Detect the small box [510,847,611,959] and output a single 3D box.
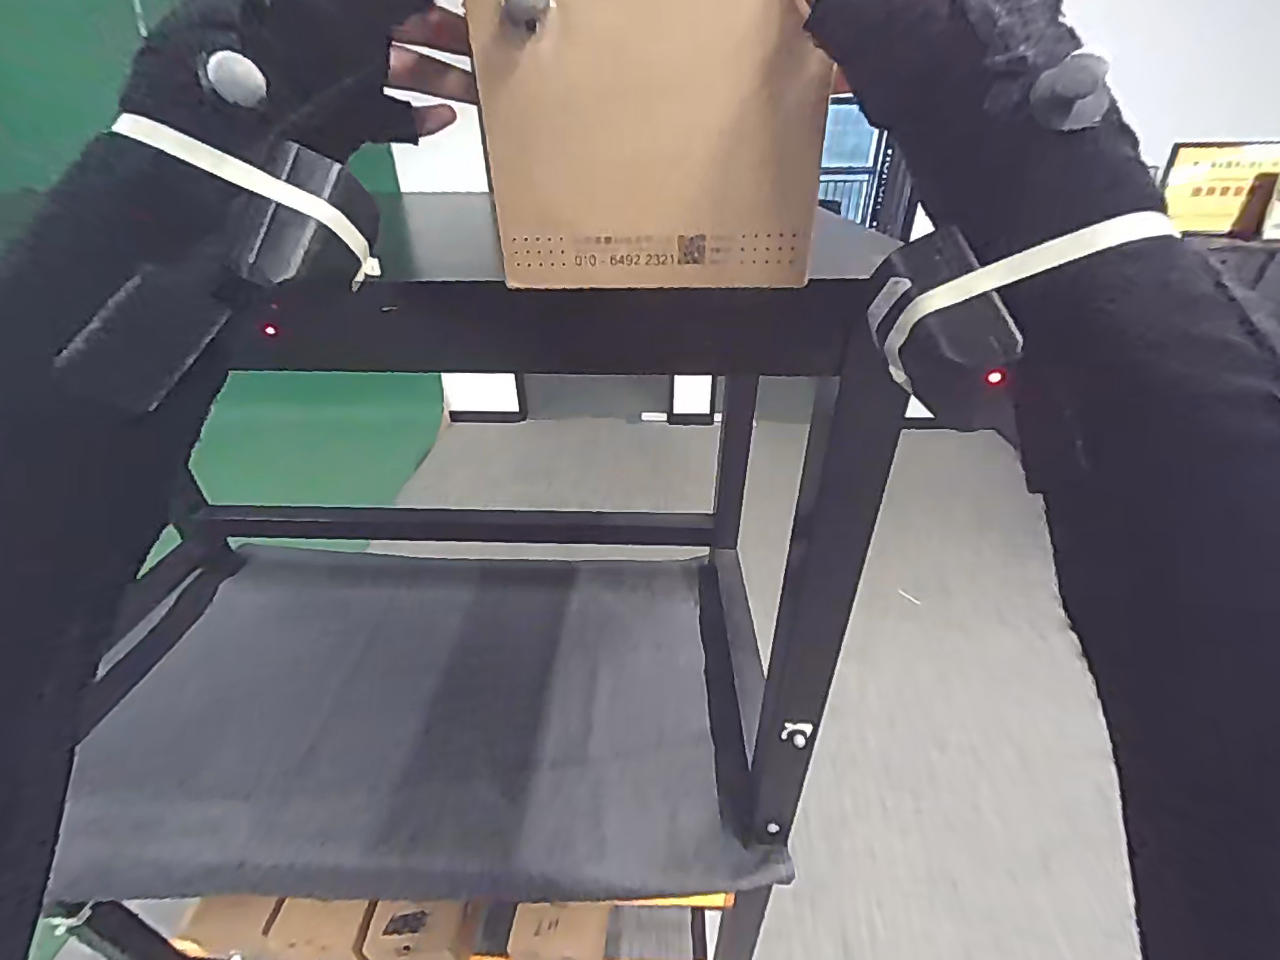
[{"bbox_3d":[-0.153,0.900,1.116,0.168,0.176,0.179,3,34,6],"label":"small box"}]
